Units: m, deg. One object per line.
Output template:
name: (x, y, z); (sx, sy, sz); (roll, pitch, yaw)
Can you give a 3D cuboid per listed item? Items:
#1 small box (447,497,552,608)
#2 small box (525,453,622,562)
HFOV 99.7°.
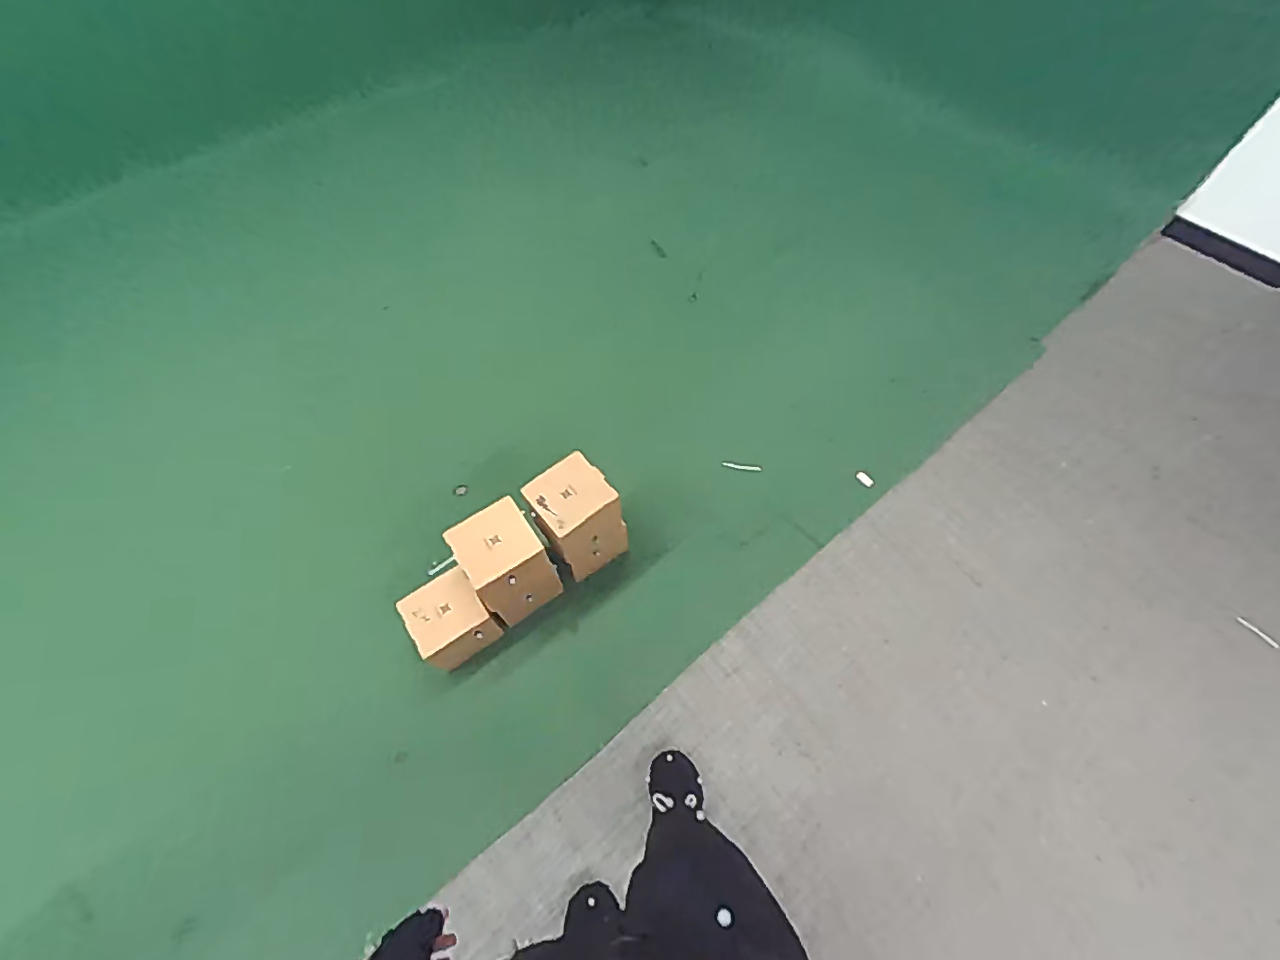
small box: (-0.323, 0.176, 1.286); (0.179, 0.176, 0.168); (-31, 66, -15)
small box: (-0.160, 0.071, 1.341); (0.179, 0.176, 0.168); (-35, 66, -19)
